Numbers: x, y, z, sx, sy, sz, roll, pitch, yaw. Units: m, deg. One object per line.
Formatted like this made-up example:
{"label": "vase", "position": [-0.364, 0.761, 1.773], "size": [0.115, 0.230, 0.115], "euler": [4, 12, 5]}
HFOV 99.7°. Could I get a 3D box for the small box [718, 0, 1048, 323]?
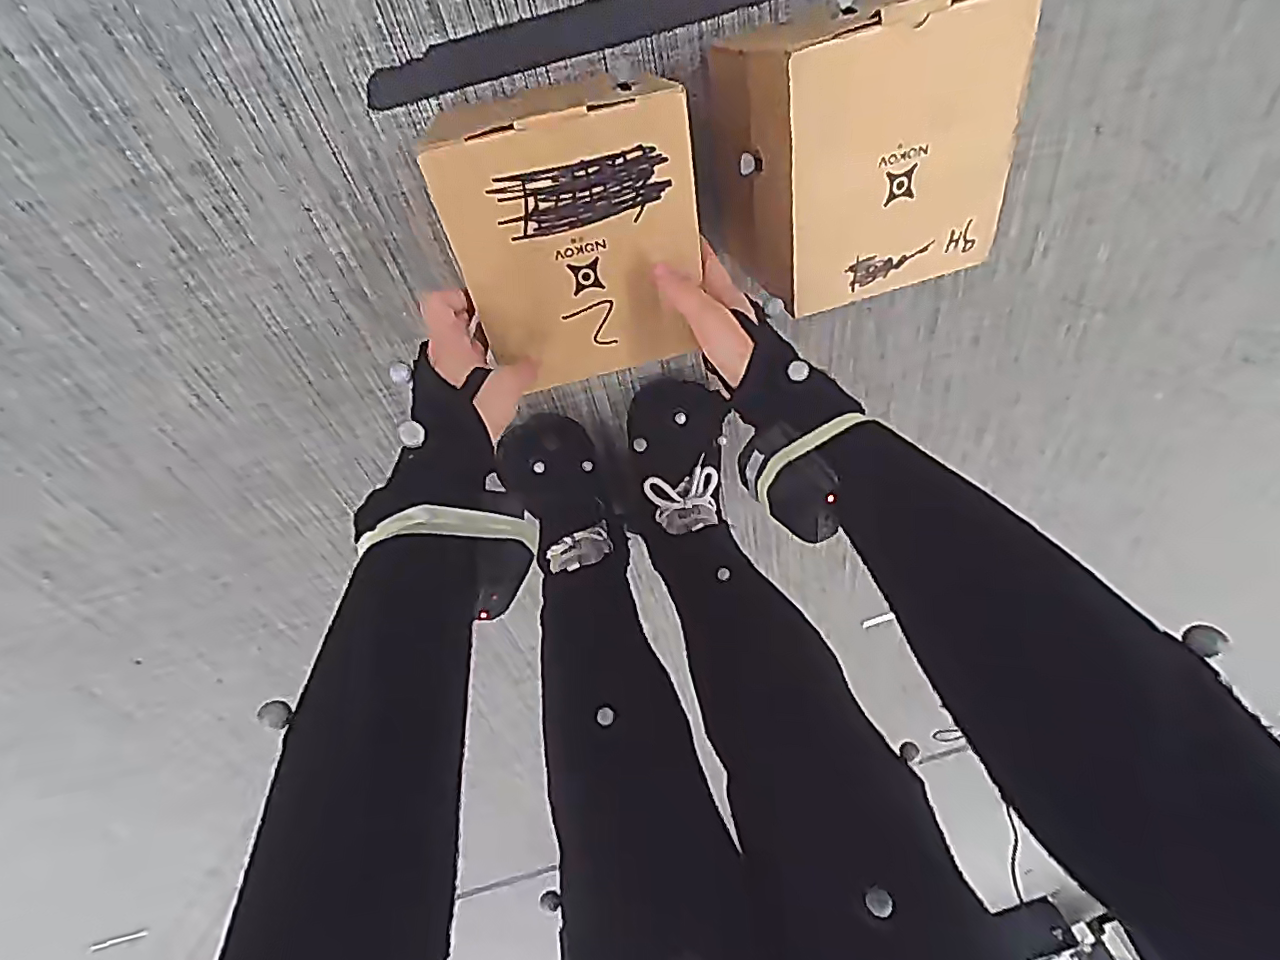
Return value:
{"label": "small box", "position": [0.170, -0.258, 0.438], "size": [0.168, 0.176, 0.179], "euler": [-16, 130, -2]}
